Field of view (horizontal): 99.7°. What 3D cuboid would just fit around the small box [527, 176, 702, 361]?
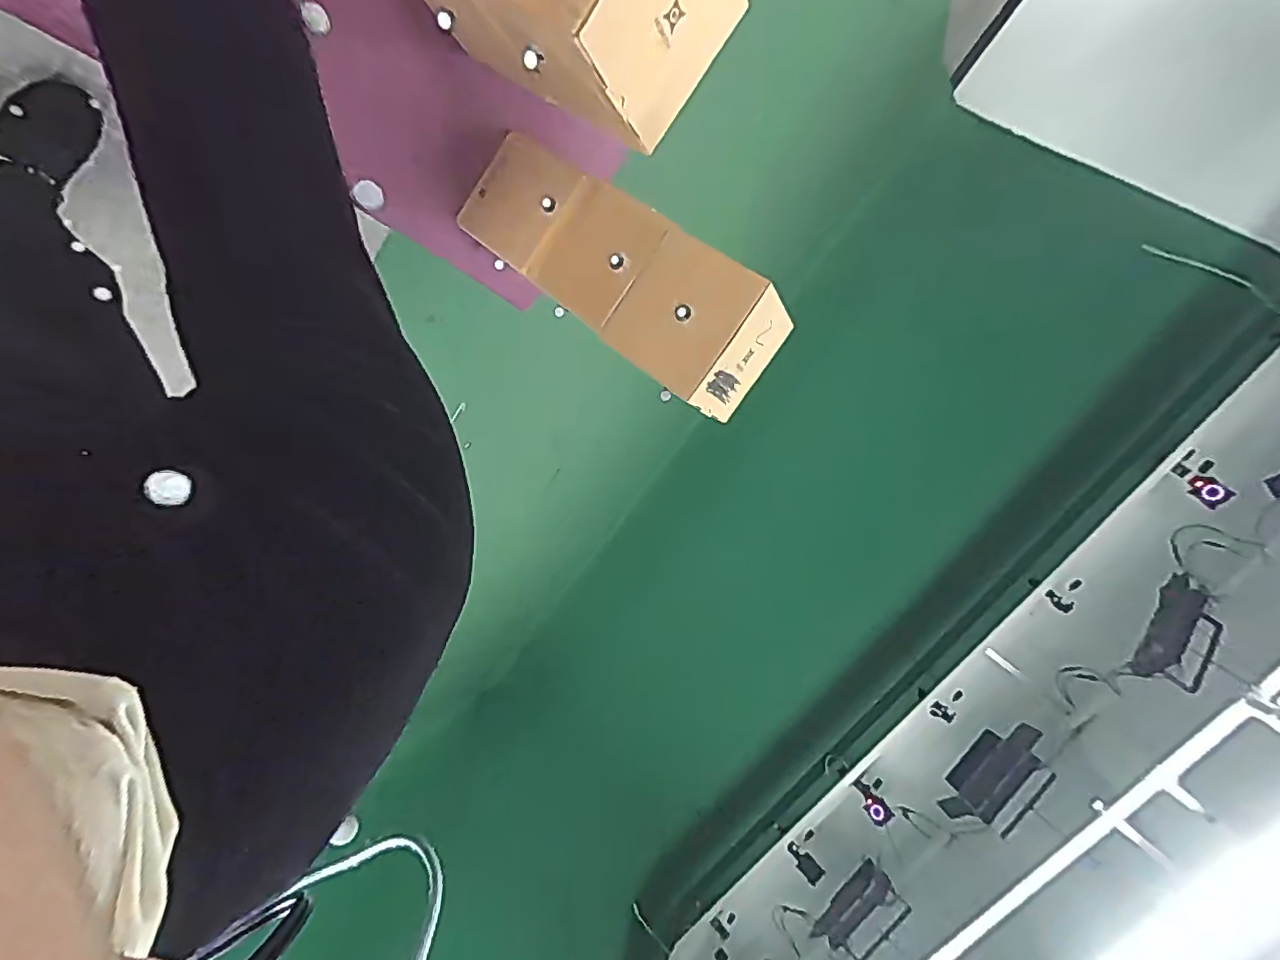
[{"bbox_3d":[-0.038,-0.318,0.824,0.179,0.176,0.168,-52,159,9],"label":"small box"}]

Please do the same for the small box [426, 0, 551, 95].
[{"bbox_3d":[-0.145,-0.582,0.583,0.179,0.176,0.168,-52,161,9],"label":"small box"}]

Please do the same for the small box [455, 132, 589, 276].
[{"bbox_3d":[-0.157,-0.416,0.877,0.168,0.176,0.179,-53,161,9],"label":"small box"}]

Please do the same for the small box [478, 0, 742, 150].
[{"bbox_3d":[-0.032,-0.481,0.525,0.179,0.176,0.168,-52,161,12],"label":"small box"}]
